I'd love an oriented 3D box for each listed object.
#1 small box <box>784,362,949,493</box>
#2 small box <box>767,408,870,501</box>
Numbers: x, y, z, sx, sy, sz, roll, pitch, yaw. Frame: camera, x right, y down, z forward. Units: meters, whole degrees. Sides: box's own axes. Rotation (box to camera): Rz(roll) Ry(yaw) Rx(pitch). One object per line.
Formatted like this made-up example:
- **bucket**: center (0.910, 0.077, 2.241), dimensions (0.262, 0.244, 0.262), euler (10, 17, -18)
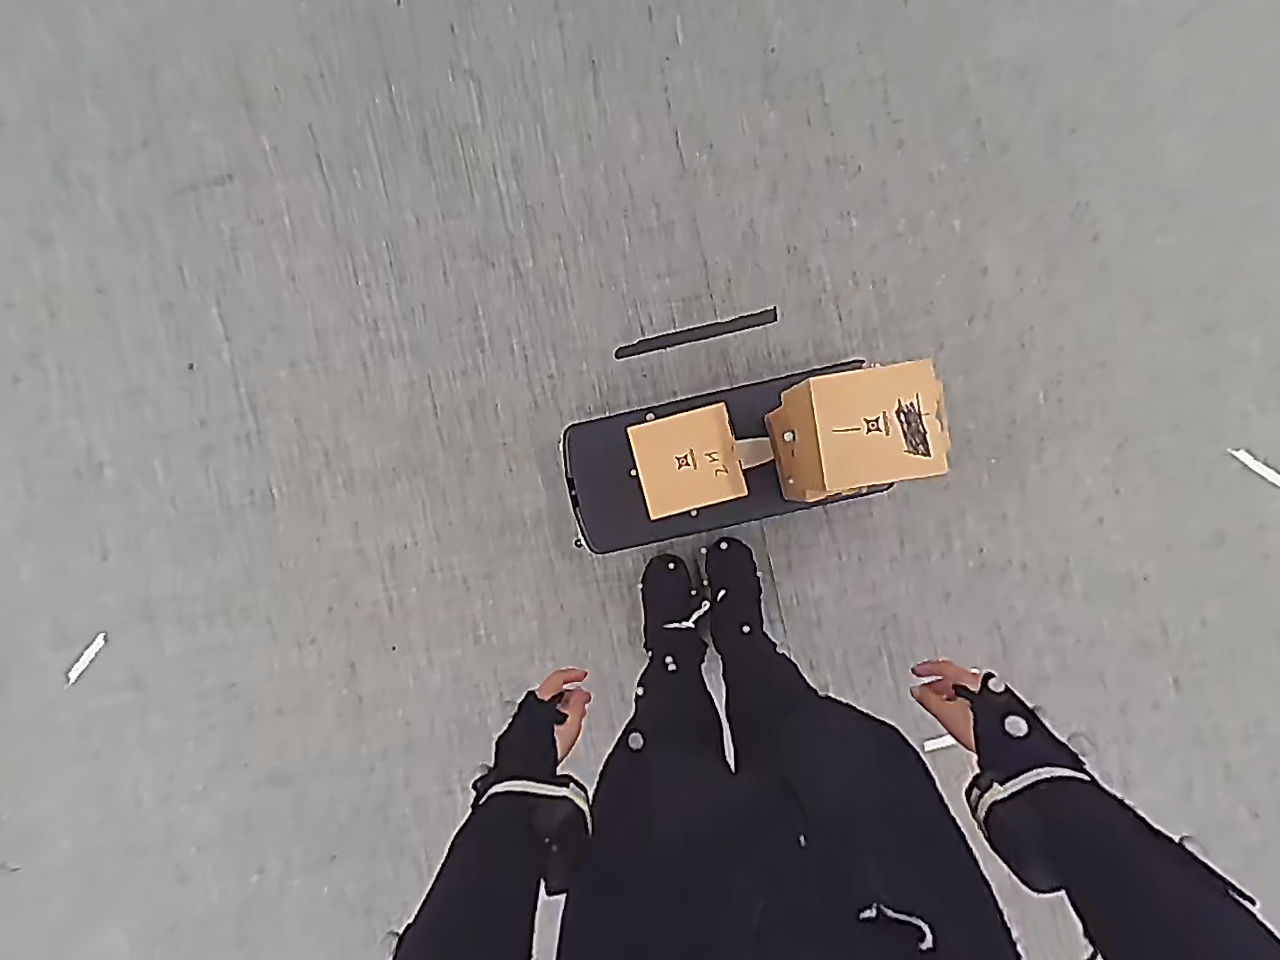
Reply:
- **small box**: center (0.337, -0.077, 0.835), dimensions (0.179, 0.176, 0.168), euler (-9, 91, 2)
- **small box**: center (0.347, -0.065, 1.000), dimensions (0.168, 0.176, 0.179), euler (-14, 91, 1)
